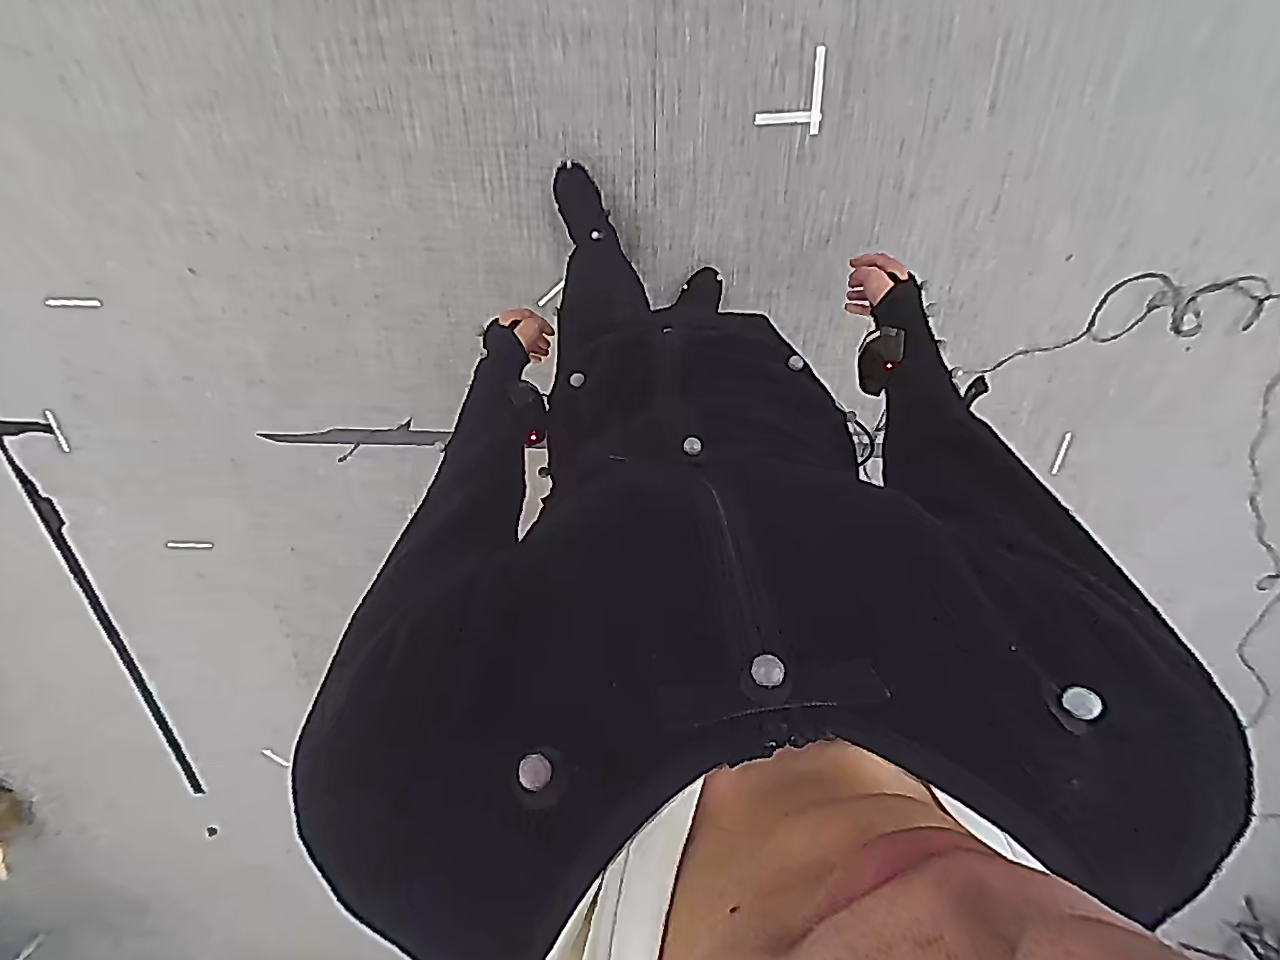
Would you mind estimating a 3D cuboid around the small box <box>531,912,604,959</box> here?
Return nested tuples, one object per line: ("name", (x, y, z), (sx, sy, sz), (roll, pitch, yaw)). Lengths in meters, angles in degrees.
("small box", (-0.196, 1.297, 1.452), (0.179, 0.176, 0.168), (-2, 116, 2))
